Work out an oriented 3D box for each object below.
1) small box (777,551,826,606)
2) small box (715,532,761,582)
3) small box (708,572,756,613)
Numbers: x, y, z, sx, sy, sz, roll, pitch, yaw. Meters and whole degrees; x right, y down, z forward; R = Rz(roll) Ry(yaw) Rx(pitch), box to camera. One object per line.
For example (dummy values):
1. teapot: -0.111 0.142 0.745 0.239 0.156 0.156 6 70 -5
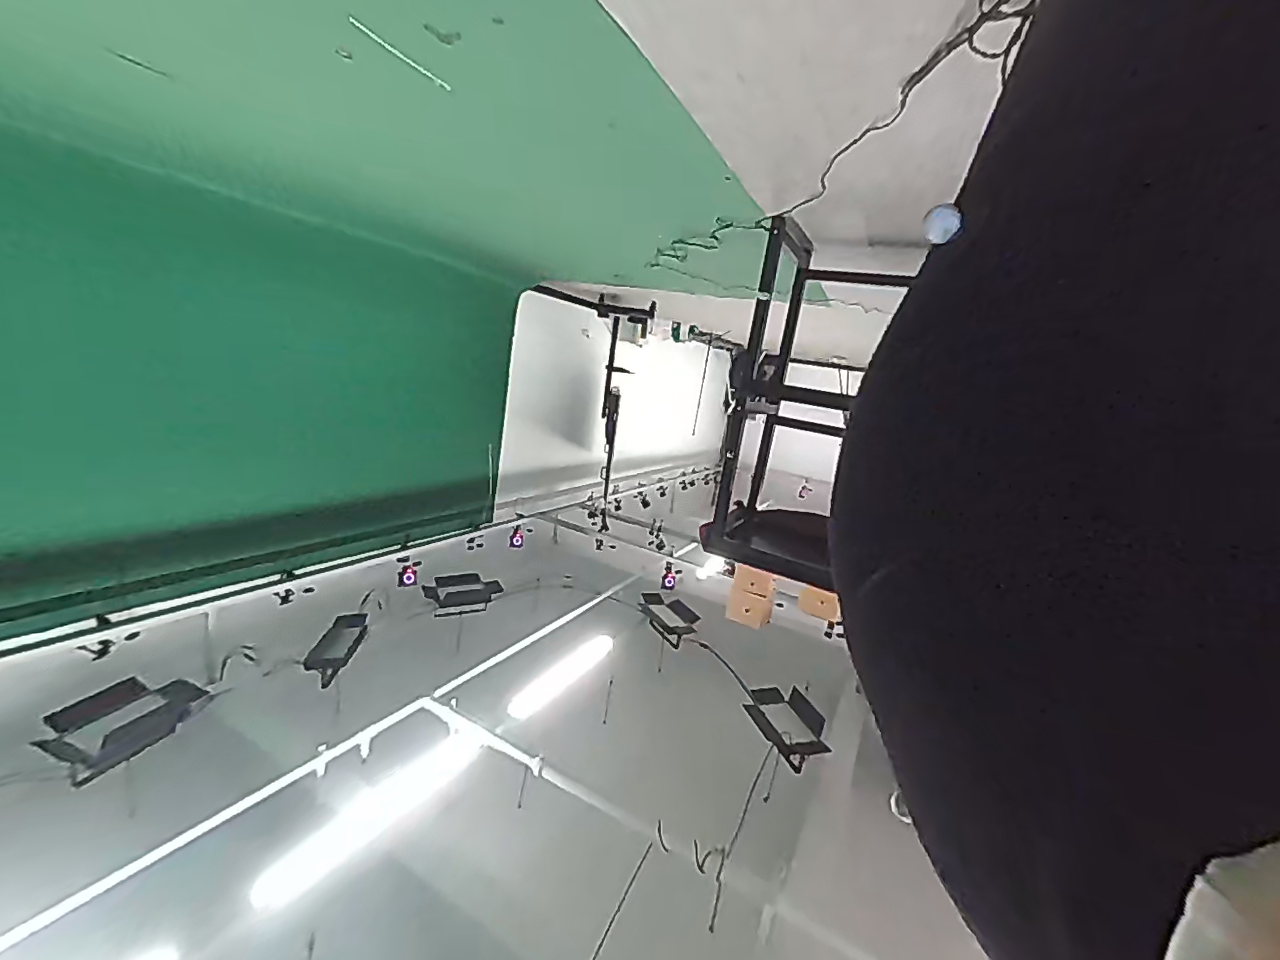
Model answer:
1. small box: 0.739 0.443 2.461 0.179 0.176 0.168 15 -166 23
2. small box: 0.475 0.363 2.601 0.179 0.176 0.168 14 -165 21
3. small box: 0.451 0.521 2.637 0.179 0.176 0.168 14 -166 28
